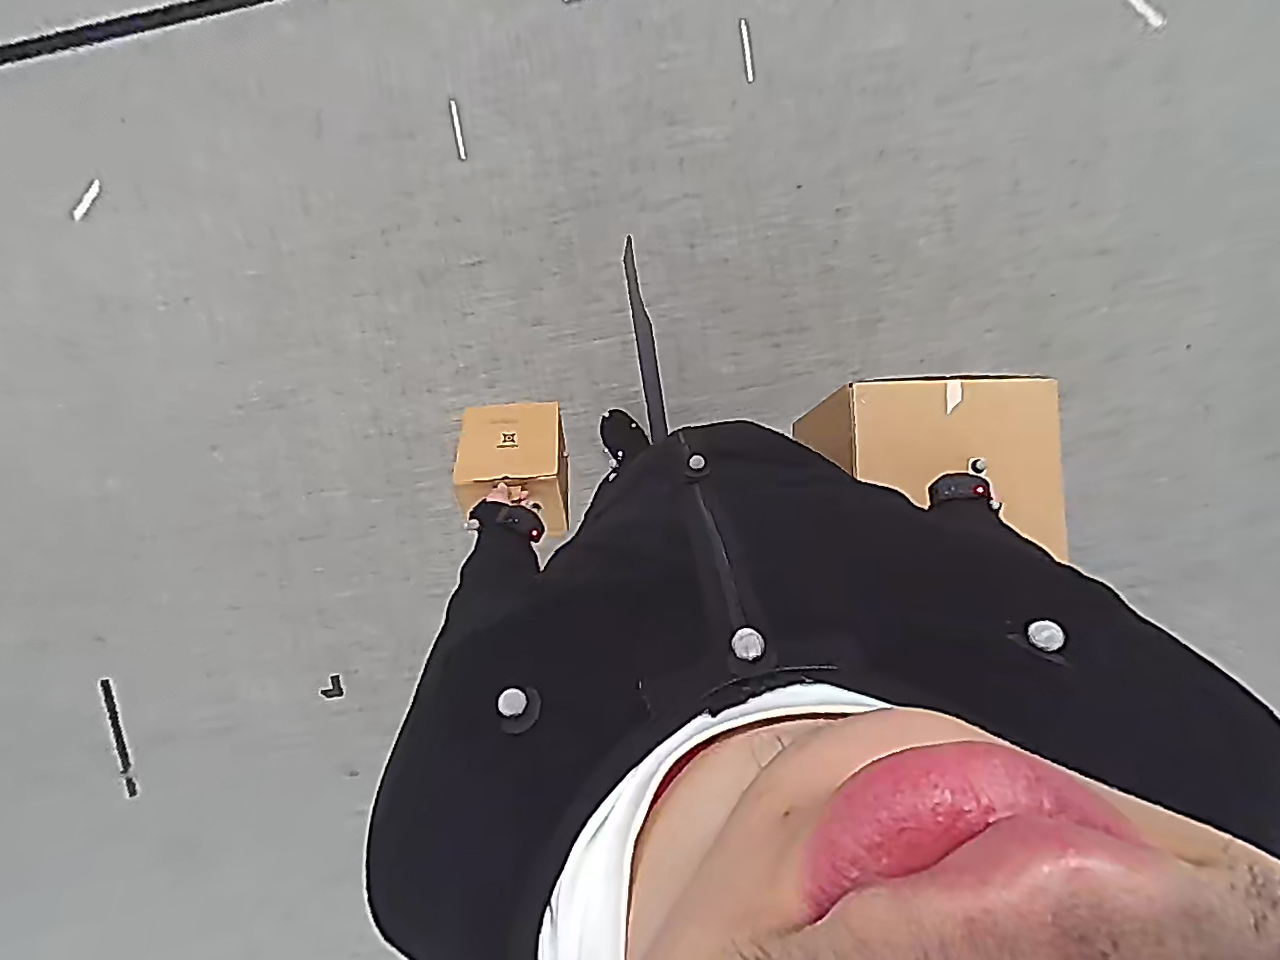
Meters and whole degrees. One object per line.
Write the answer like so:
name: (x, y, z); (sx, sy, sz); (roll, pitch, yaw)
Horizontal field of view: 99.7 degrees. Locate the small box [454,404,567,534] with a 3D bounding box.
small box: (-0.221, -0.014, 0.975); (0.168, 0.179, 0.176); (-4, 139, -4)
